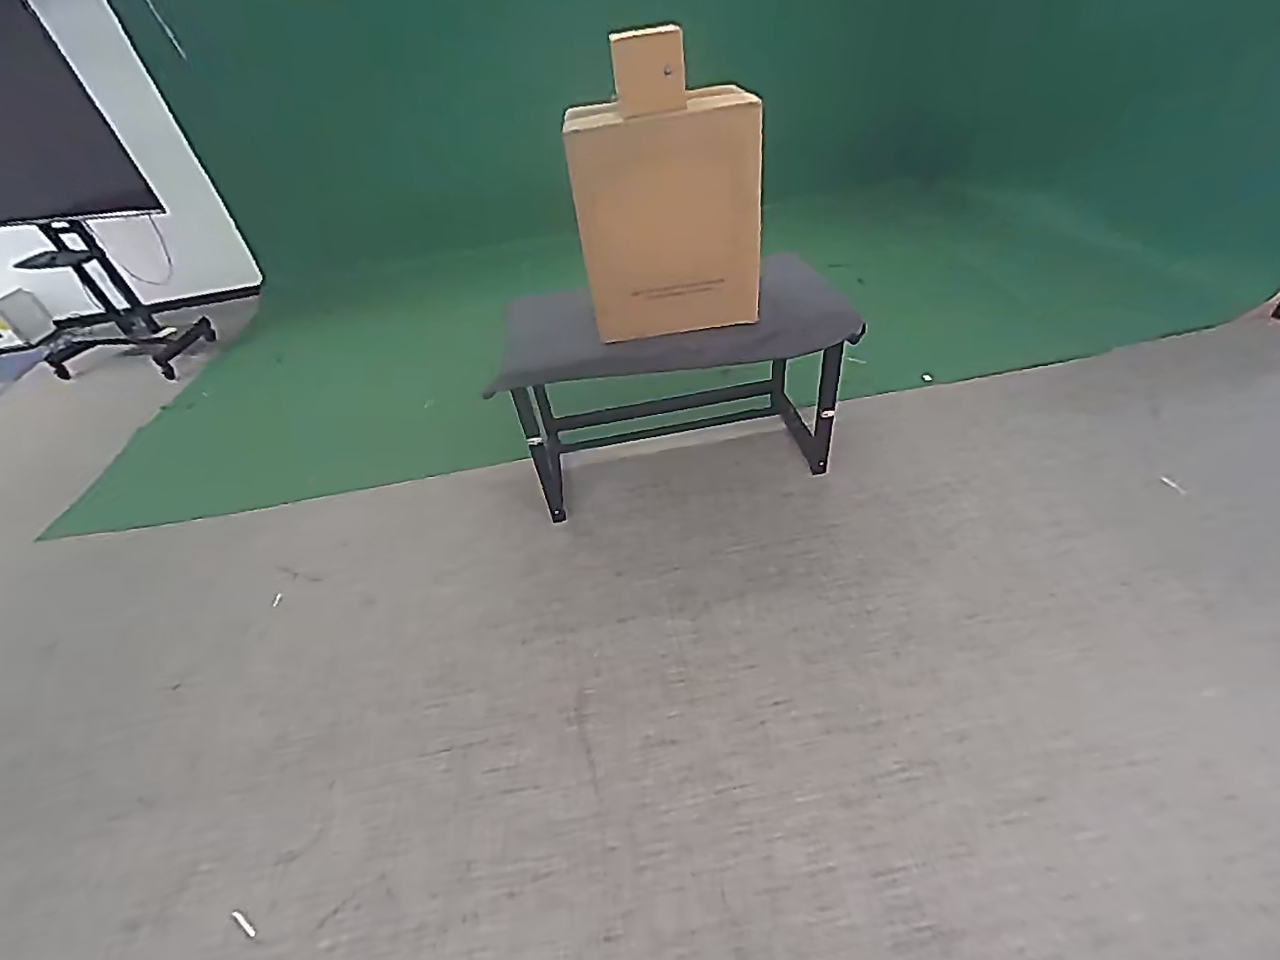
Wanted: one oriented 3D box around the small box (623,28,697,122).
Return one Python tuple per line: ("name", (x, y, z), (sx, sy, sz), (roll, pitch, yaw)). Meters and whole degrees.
("small box", (0.055, -1.081, 1.445), (0.179, 0.176, 0.168), (-9, 42, 2))
